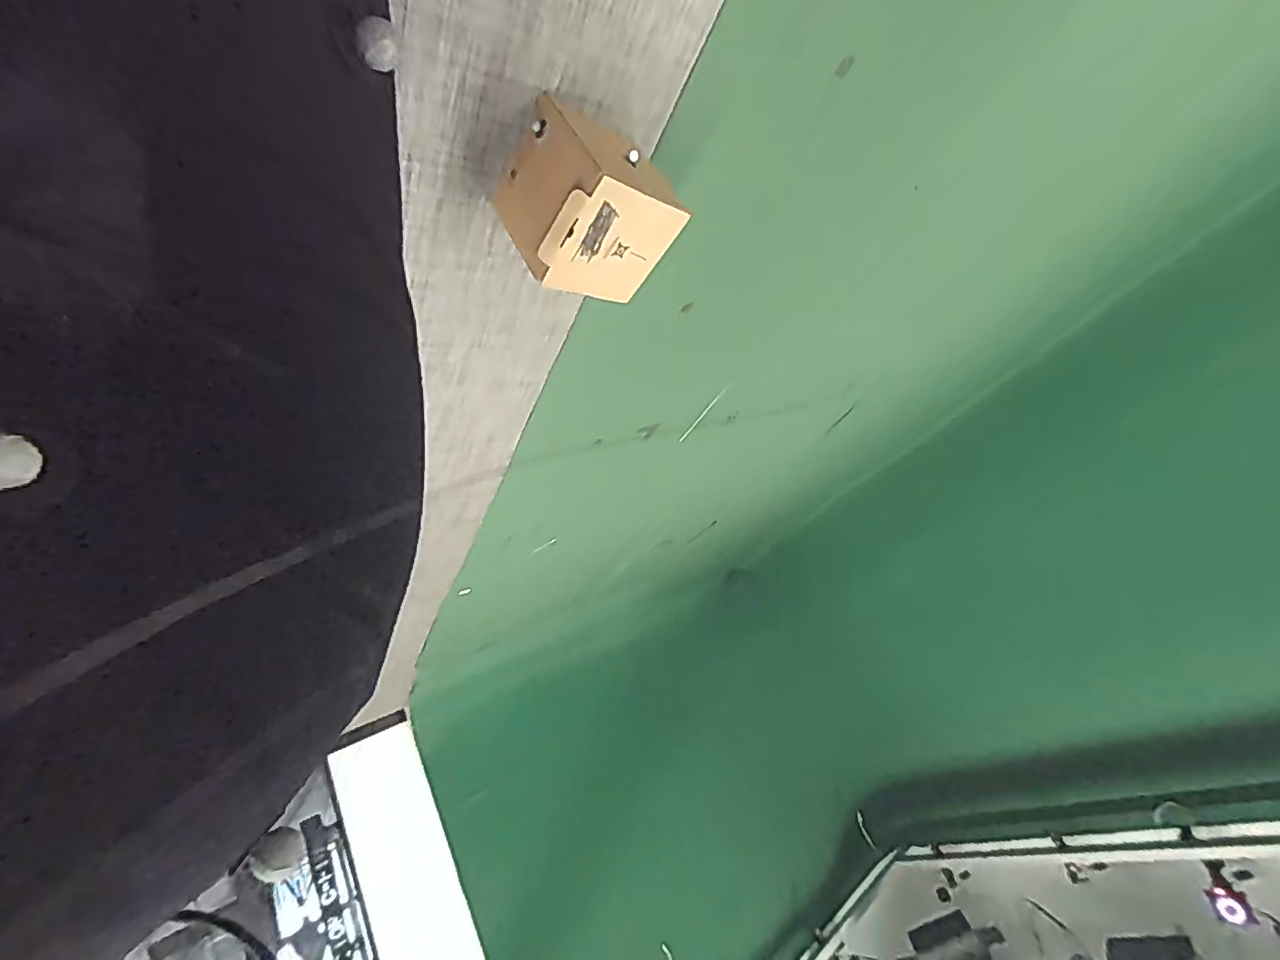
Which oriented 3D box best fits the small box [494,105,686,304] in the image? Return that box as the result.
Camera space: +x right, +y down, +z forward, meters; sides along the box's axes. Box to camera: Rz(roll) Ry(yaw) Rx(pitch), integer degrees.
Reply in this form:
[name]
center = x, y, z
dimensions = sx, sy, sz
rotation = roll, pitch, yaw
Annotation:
[small box]
center = -0.076, -0.379, 0.758
dimensions = 0.179, 0.176, 0.168
rotation = -8, 151, -48
